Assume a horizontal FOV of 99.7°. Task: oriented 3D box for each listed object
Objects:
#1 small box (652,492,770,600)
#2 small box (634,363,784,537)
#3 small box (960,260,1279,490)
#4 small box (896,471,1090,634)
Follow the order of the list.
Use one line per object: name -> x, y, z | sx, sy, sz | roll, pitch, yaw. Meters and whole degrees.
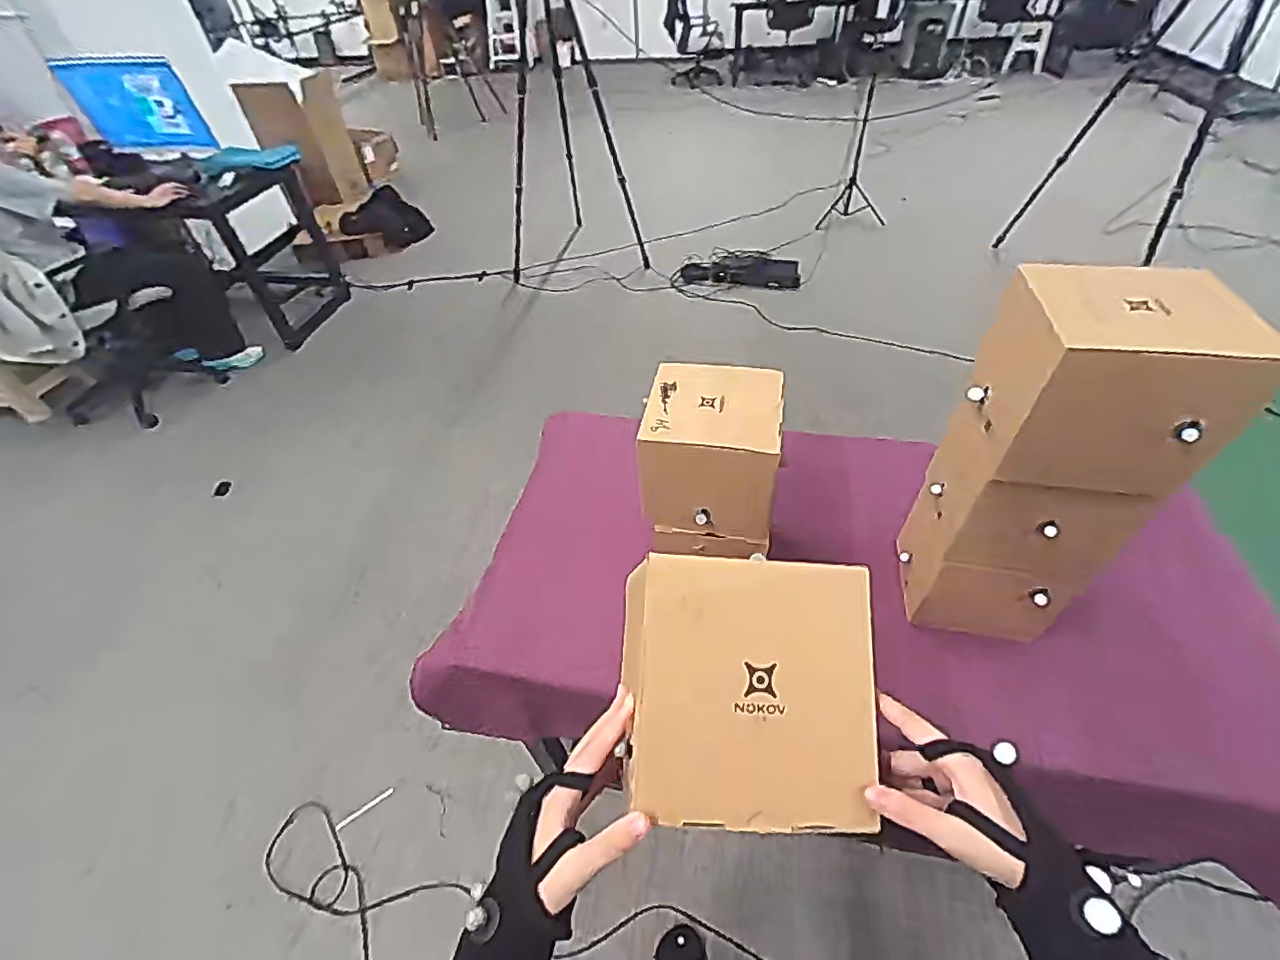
small box -> 0.118, 0.073, 0.874 | 0.168, 0.176, 0.179 | 6, 47, 10
small box -> 0.097, -0.040, 0.755 | 0.179, 0.176, 0.168 | 7, 47, 10
small box -> 0.467, -0.107, 0.560 | 0.179, 0.176, 0.168 | 6, 47, 11
small box -> 0.504, 0.111, 0.804 | 0.179, 0.176, 0.168 | 6, 47, 11
